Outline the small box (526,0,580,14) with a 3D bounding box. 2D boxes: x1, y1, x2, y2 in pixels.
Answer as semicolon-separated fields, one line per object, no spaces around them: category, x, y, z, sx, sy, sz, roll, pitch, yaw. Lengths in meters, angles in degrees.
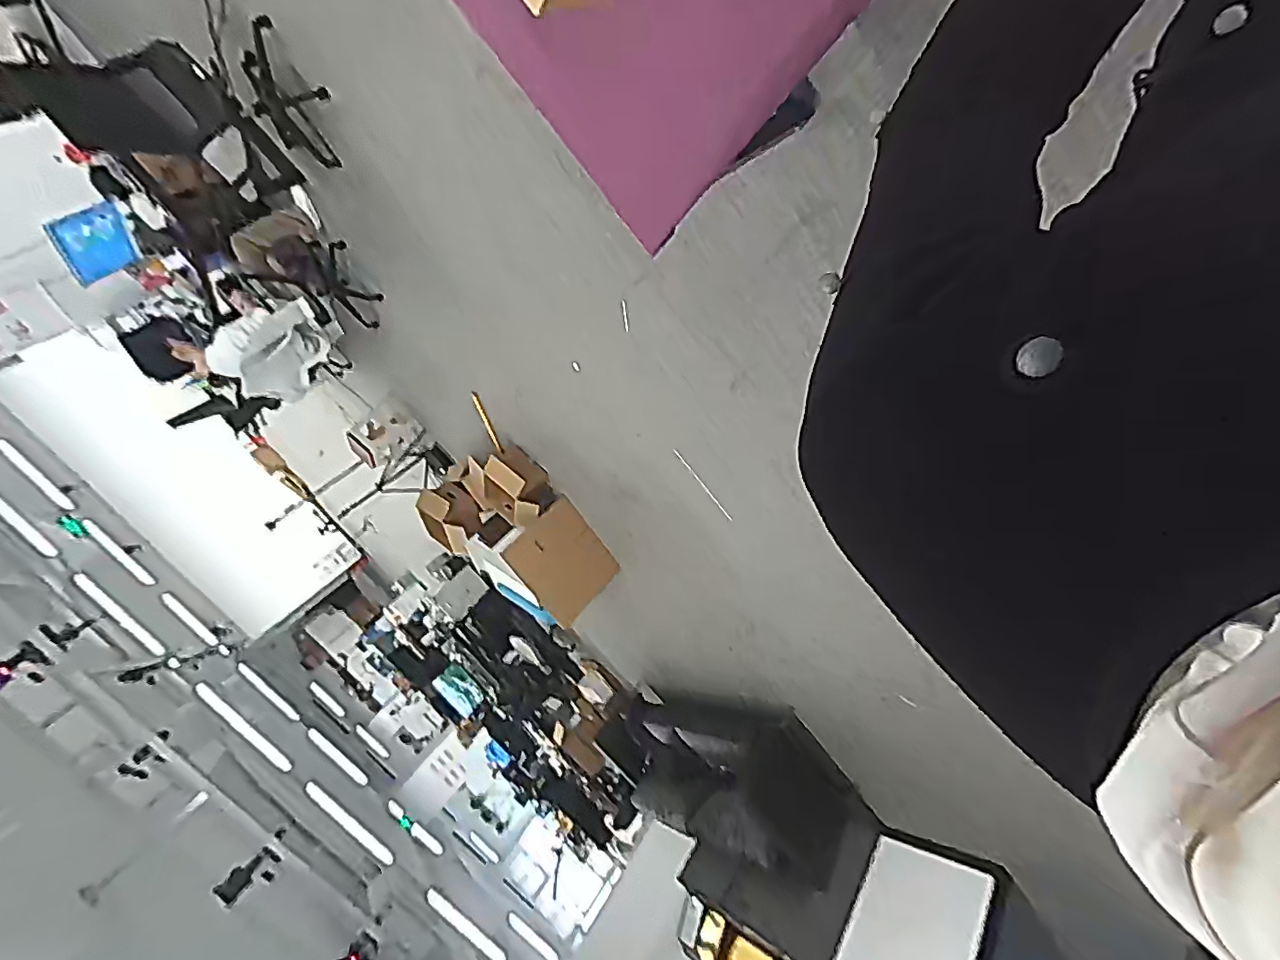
small box;-0.109;-0.786;0.720;0.179;0.176;0.168;50;147;-10
